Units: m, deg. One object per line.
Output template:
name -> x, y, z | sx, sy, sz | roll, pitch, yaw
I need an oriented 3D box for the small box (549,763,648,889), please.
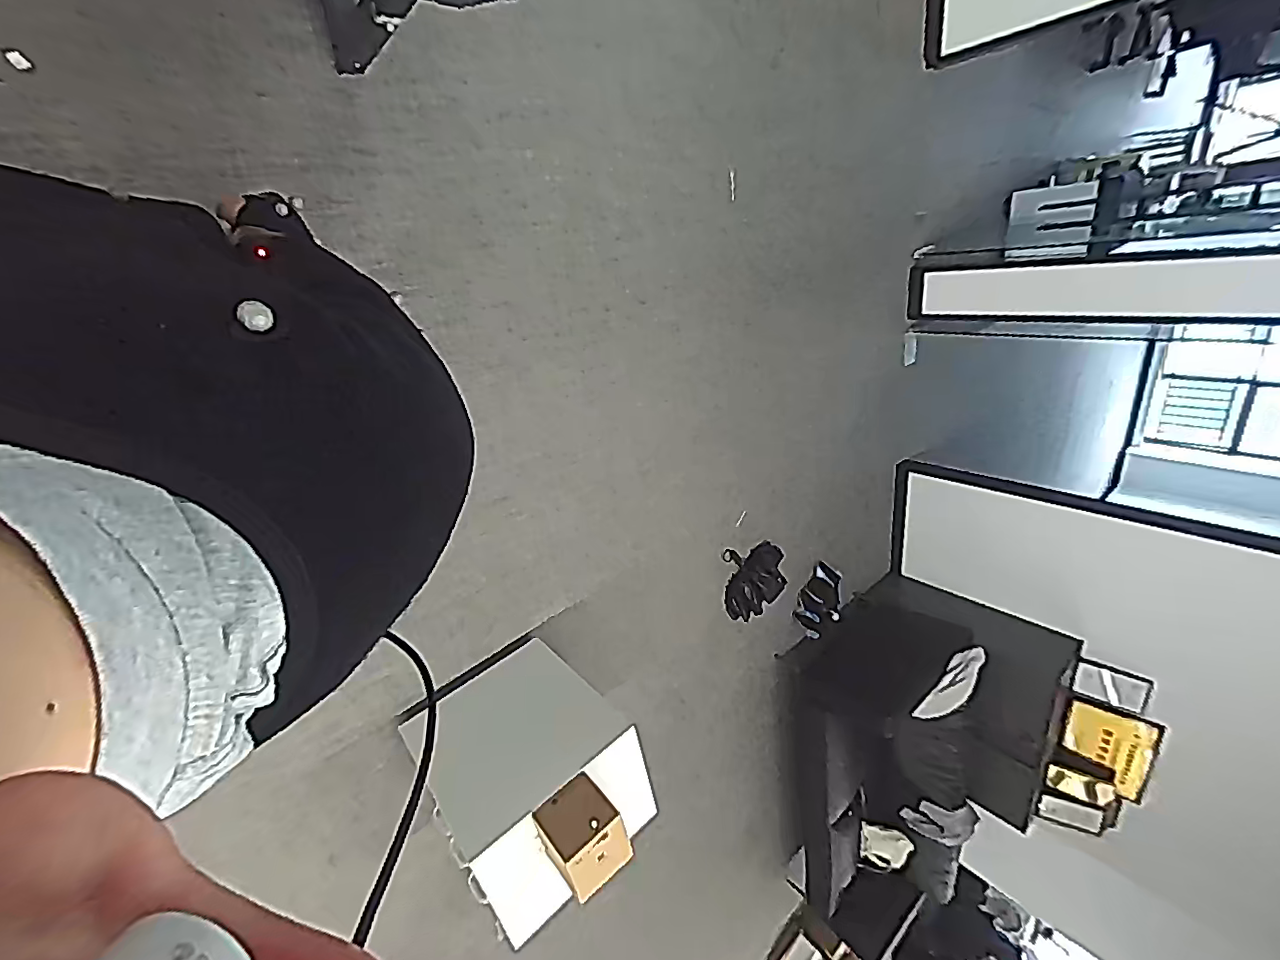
small box -> -0.106, 0.867, 1.372 | 0.168, 0.176, 0.179 | -30, 123, -31
